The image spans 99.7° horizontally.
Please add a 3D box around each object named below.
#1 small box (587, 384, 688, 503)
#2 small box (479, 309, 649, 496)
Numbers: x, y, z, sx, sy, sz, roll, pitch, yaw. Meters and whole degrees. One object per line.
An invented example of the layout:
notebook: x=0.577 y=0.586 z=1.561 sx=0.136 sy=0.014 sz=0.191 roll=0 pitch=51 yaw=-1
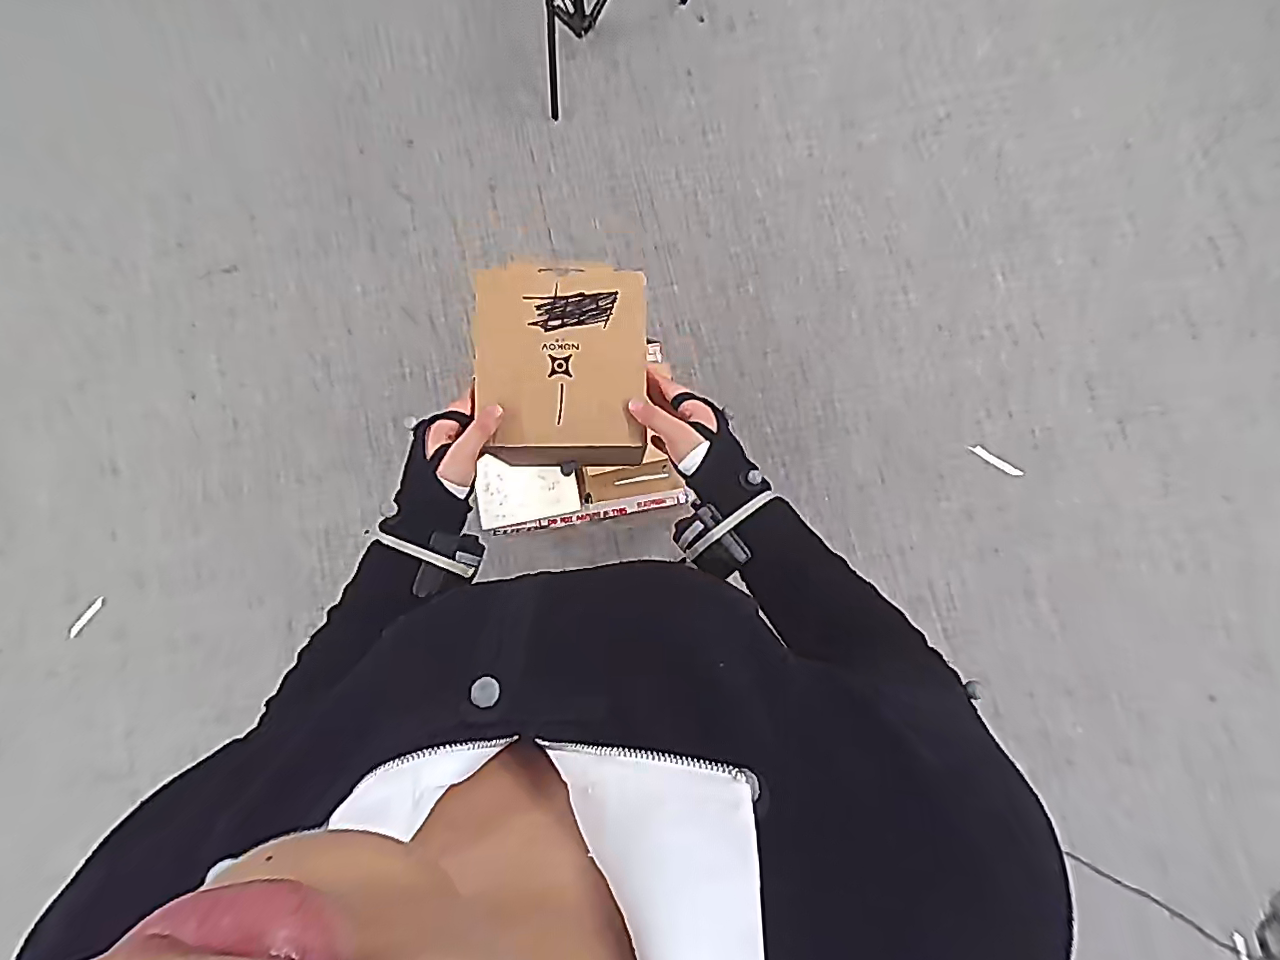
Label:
small box: x=-0.022 y=-0.059 z=0.991 sx=0.179 sy=0.176 sz=0.168 roll=-14 pitch=83 yaw=-1
small box: x=-0.078 y=-0.076 z=0.612 sx=0.168 sy=0.176 sz=0.179 roll=0 pitch=85 yaw=-2
